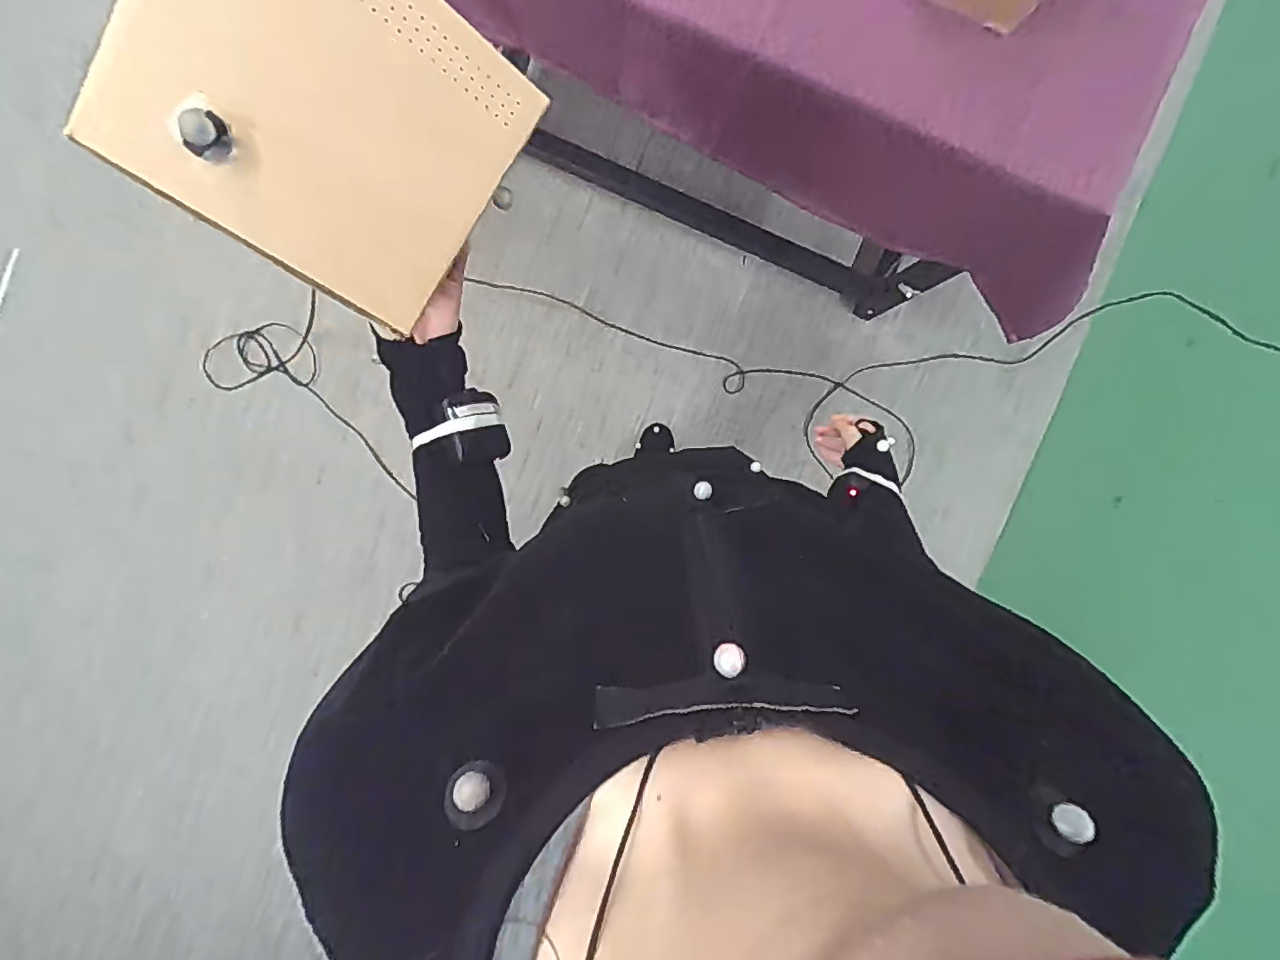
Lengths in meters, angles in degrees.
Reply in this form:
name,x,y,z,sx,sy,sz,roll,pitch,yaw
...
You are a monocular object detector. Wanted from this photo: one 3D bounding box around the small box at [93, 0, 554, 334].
name,x,y,z,sx,sy,sz,roll,pitch,yaw
small box,-0.185,-0.232,0.362,0.179,0.168,0.176,31,104,-30
